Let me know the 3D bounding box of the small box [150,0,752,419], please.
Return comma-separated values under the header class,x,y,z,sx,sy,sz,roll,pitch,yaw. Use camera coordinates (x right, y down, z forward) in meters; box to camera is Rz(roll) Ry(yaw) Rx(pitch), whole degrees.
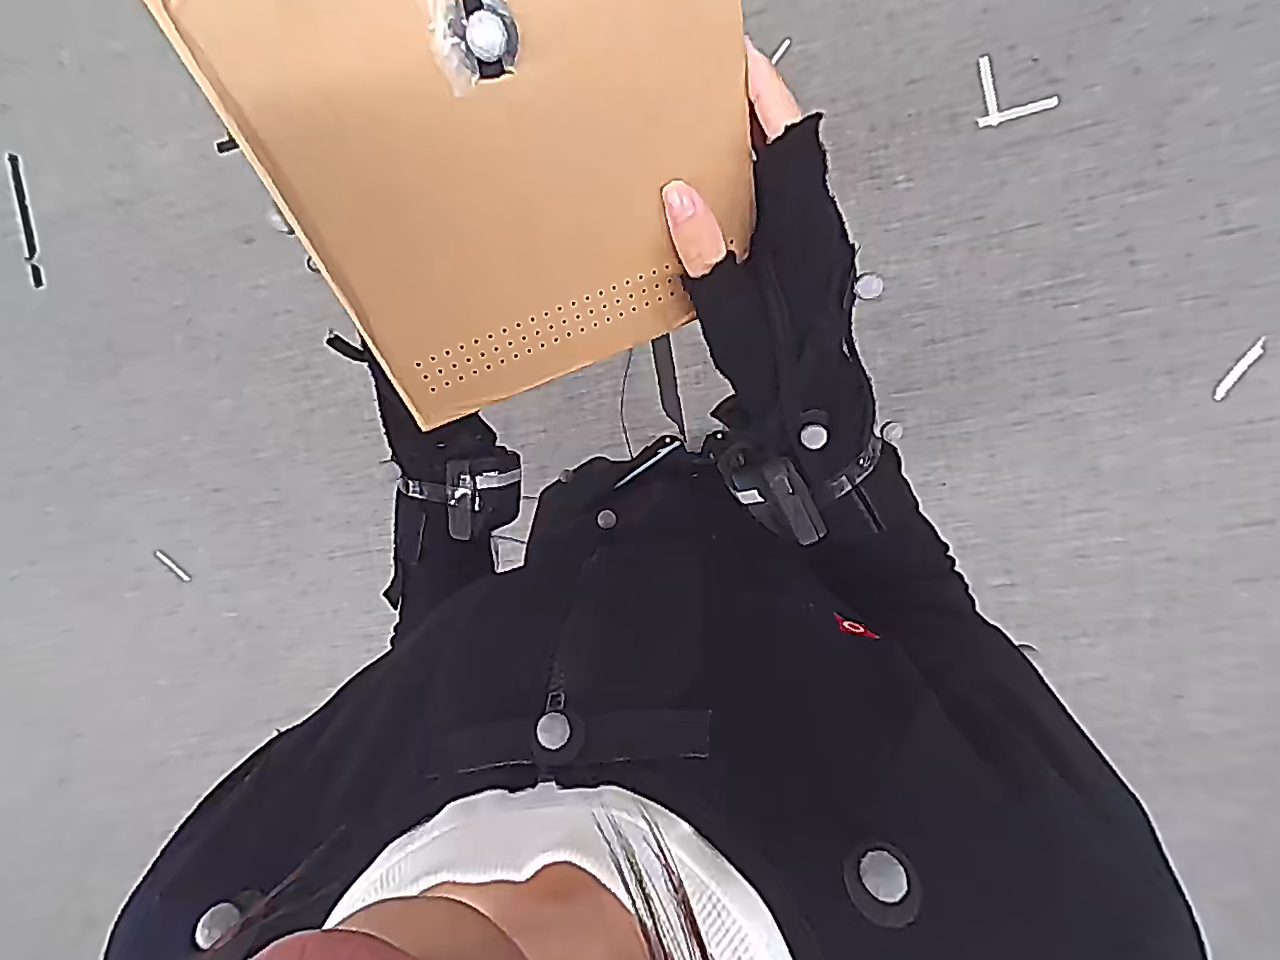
class,x,y,z,sx,sy,sz,roll,pitch,yaw
small box,-0.062,-0.157,0.262,0.179,0.168,0.176,-23,135,-6
